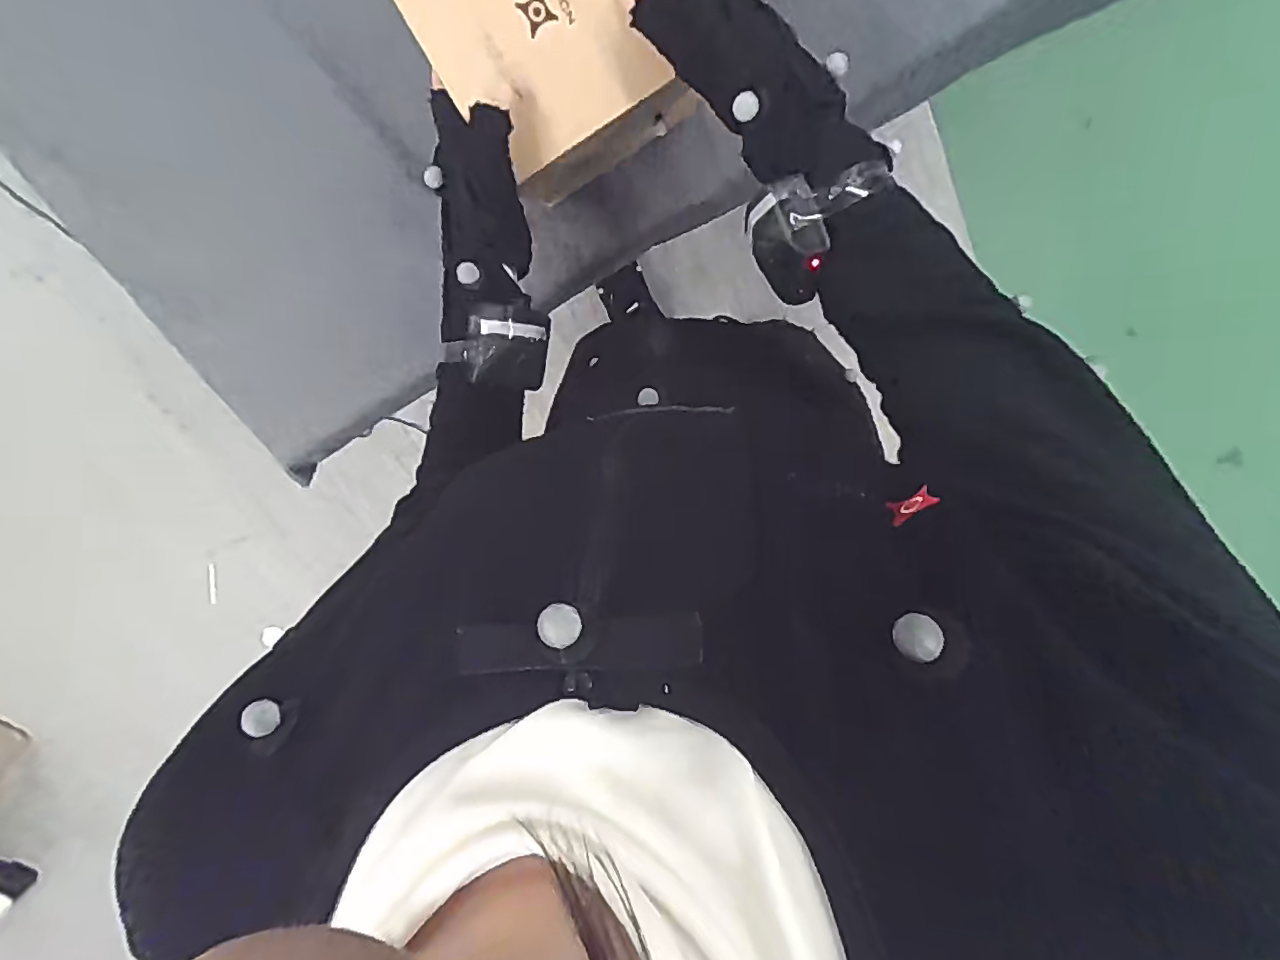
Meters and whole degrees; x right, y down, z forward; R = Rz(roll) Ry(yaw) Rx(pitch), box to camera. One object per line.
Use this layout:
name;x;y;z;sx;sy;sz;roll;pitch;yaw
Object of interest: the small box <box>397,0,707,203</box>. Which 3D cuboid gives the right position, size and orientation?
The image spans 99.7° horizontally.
small box;-0.061;-0.357;0.449;0.179;0.176;0.168;-27;109;15
